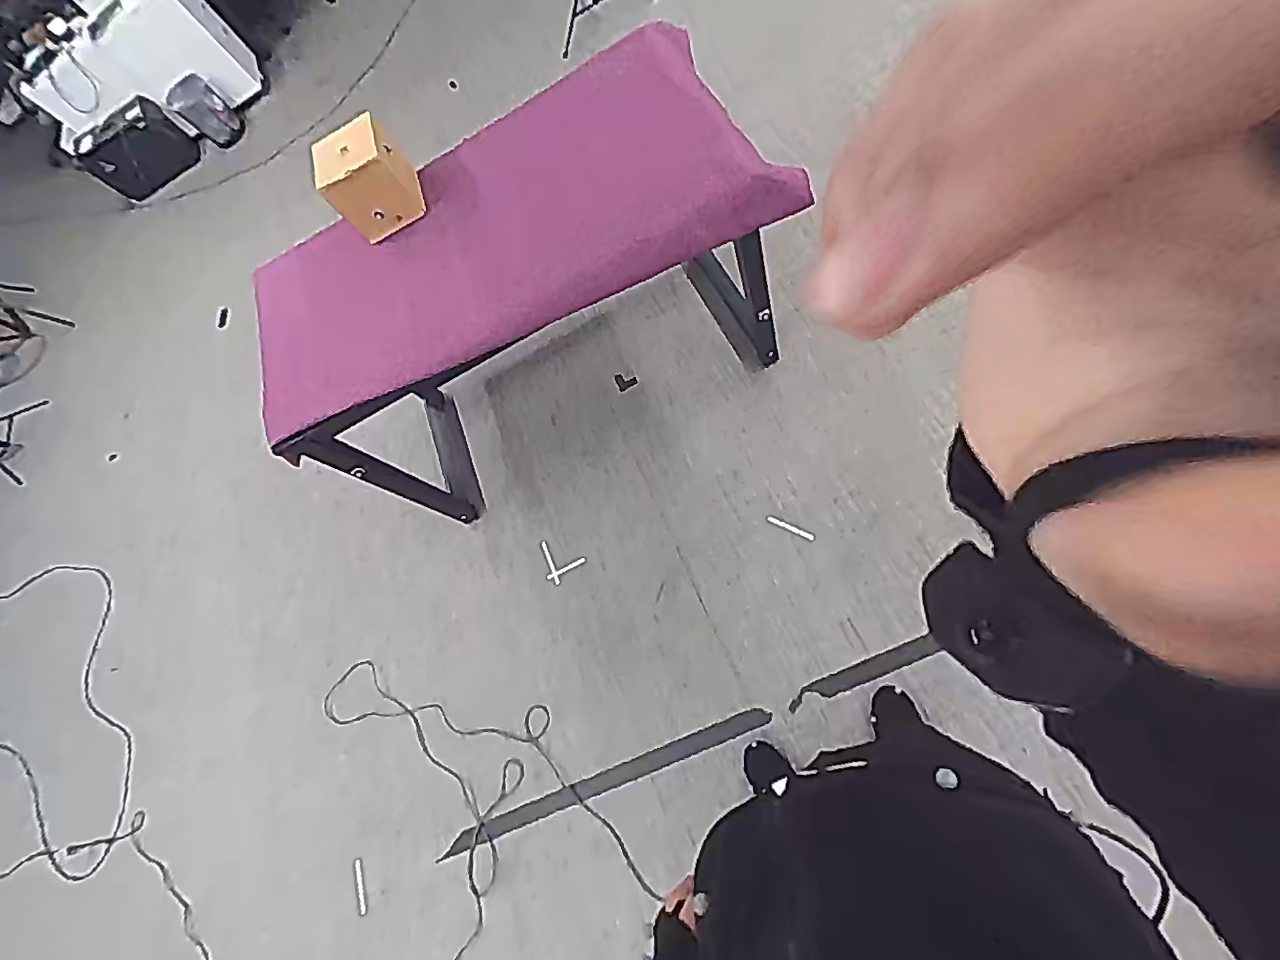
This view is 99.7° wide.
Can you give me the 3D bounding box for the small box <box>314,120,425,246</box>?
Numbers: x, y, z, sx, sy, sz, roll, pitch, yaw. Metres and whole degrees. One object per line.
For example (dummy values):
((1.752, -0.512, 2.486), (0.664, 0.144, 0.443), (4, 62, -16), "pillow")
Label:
((-0.649, -0.709, 1.306), (0.168, 0.176, 0.179), (-25, 65, 8), "small box")
